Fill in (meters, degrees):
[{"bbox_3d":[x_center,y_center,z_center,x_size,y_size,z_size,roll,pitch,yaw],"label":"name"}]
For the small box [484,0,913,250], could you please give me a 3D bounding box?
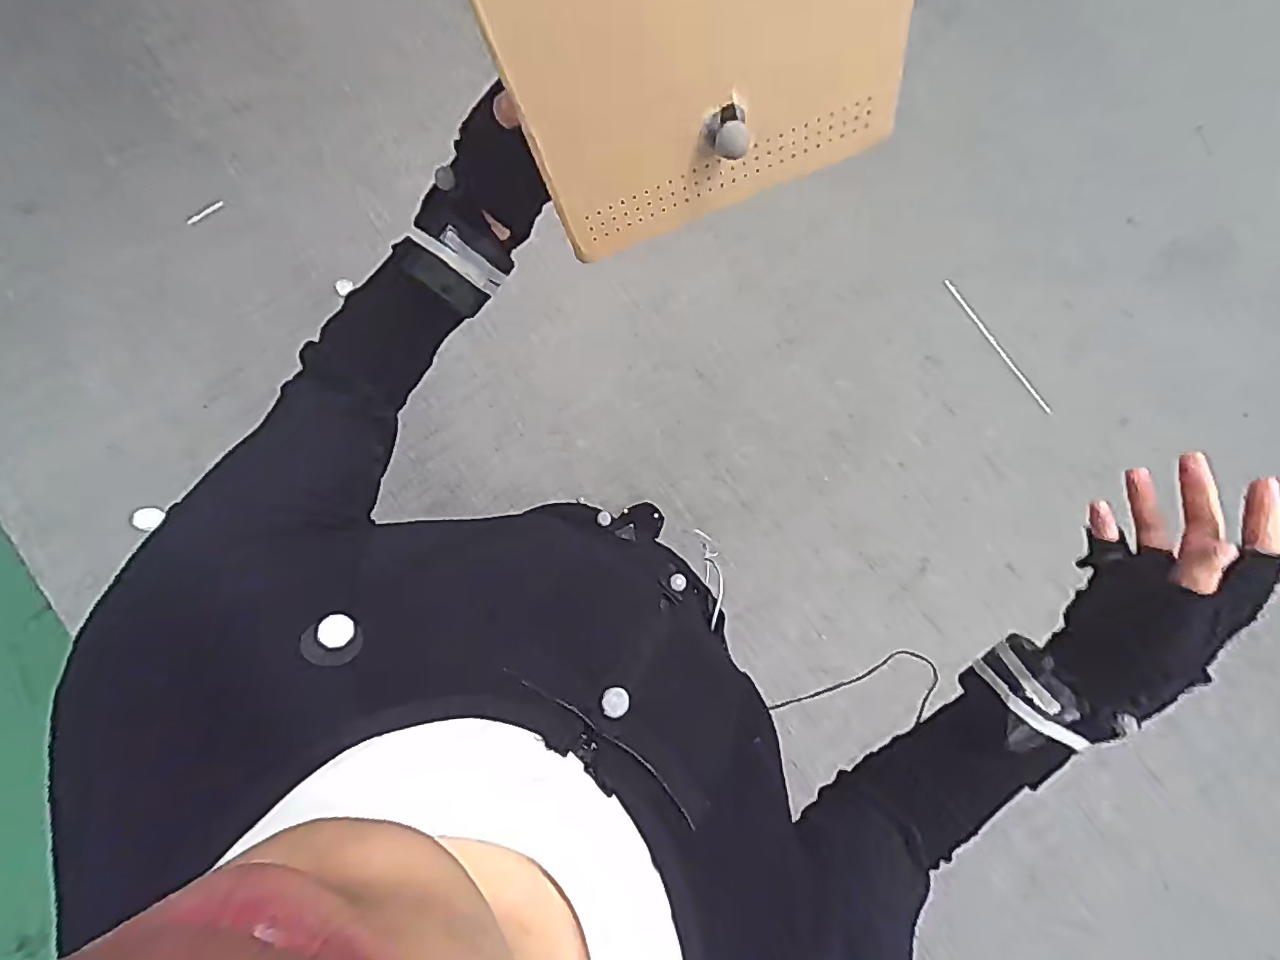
[{"bbox_3d":[0.015,-0.247,0.253,0.179,0.176,0.168,-19,59,4],"label":"small box"}]
